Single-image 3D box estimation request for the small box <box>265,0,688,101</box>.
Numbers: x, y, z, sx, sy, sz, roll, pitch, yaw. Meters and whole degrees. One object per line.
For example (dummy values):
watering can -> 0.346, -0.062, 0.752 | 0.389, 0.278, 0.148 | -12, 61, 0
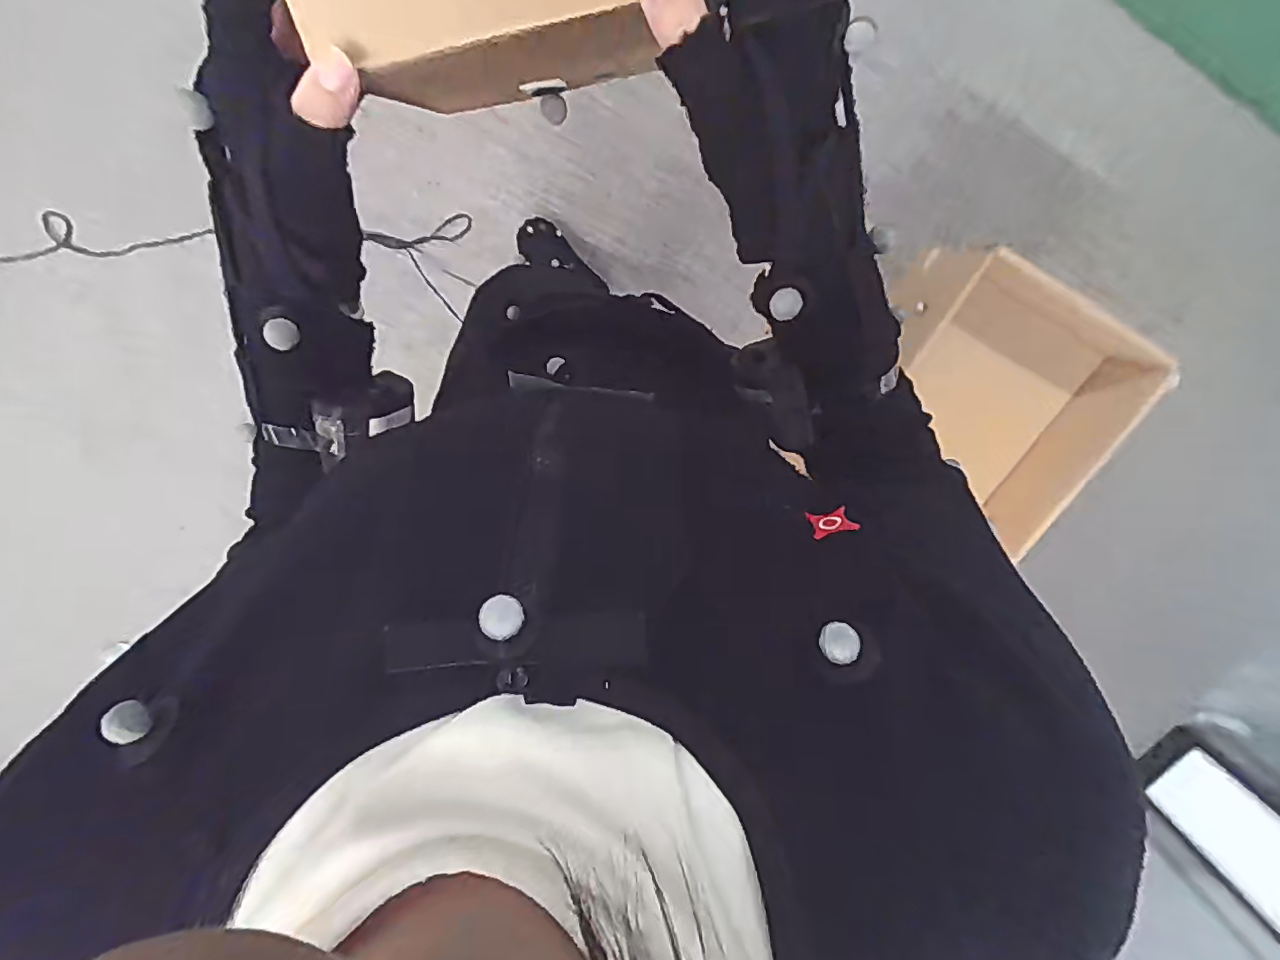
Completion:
small box -> -0.071, -0.291, 0.233 | 0.168, 0.176, 0.179 | -8, 119, 7
